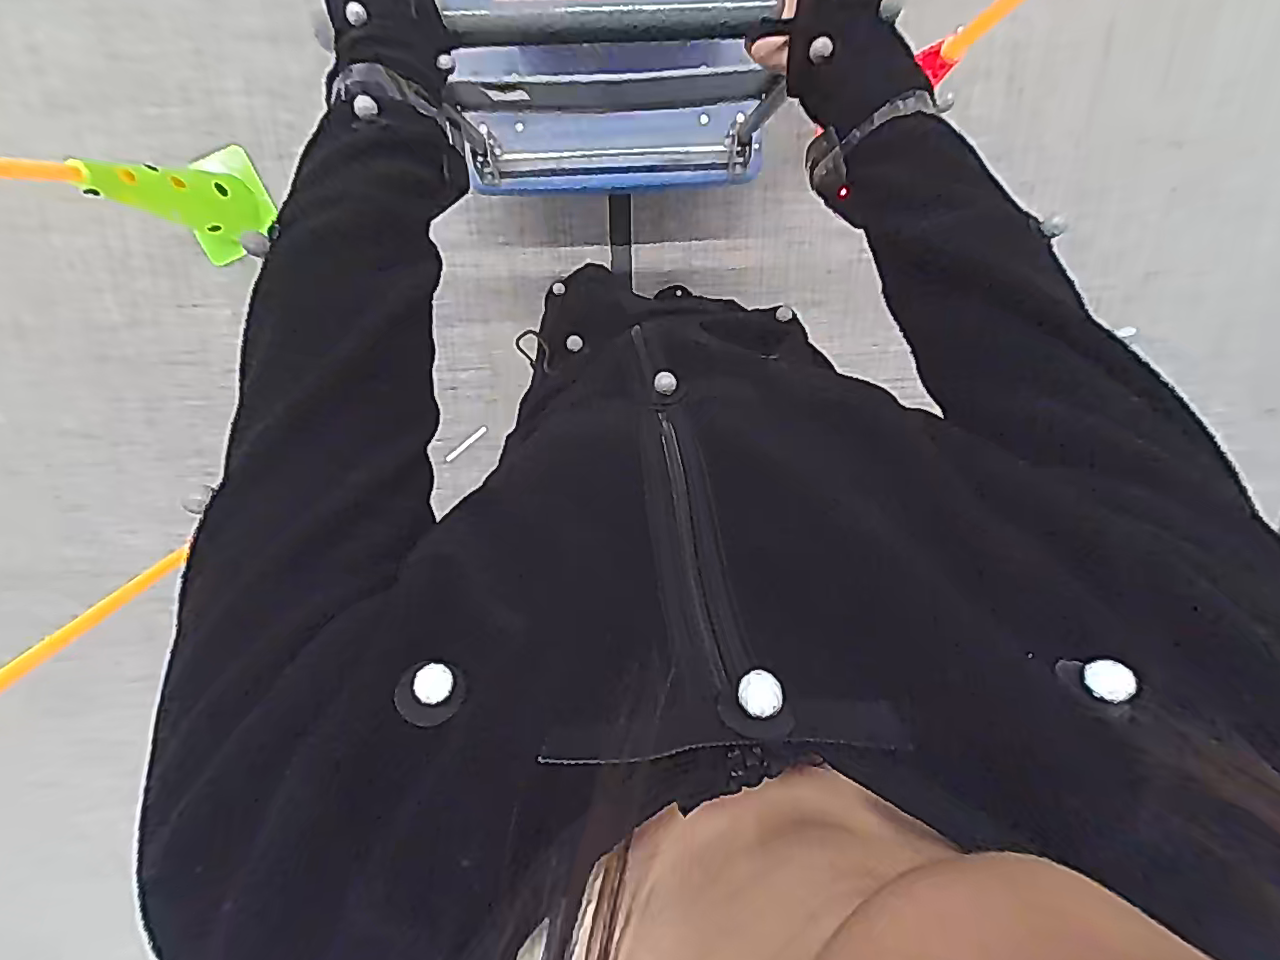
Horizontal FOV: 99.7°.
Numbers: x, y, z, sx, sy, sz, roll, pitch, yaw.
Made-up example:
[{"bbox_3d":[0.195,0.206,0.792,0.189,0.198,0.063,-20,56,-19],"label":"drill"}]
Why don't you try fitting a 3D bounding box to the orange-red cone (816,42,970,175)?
[{"bbox_3d":[0.503,-0.731,1.022,0.199,0.360,0.198,4,109,-4],"label":"orange-red cone"}]
